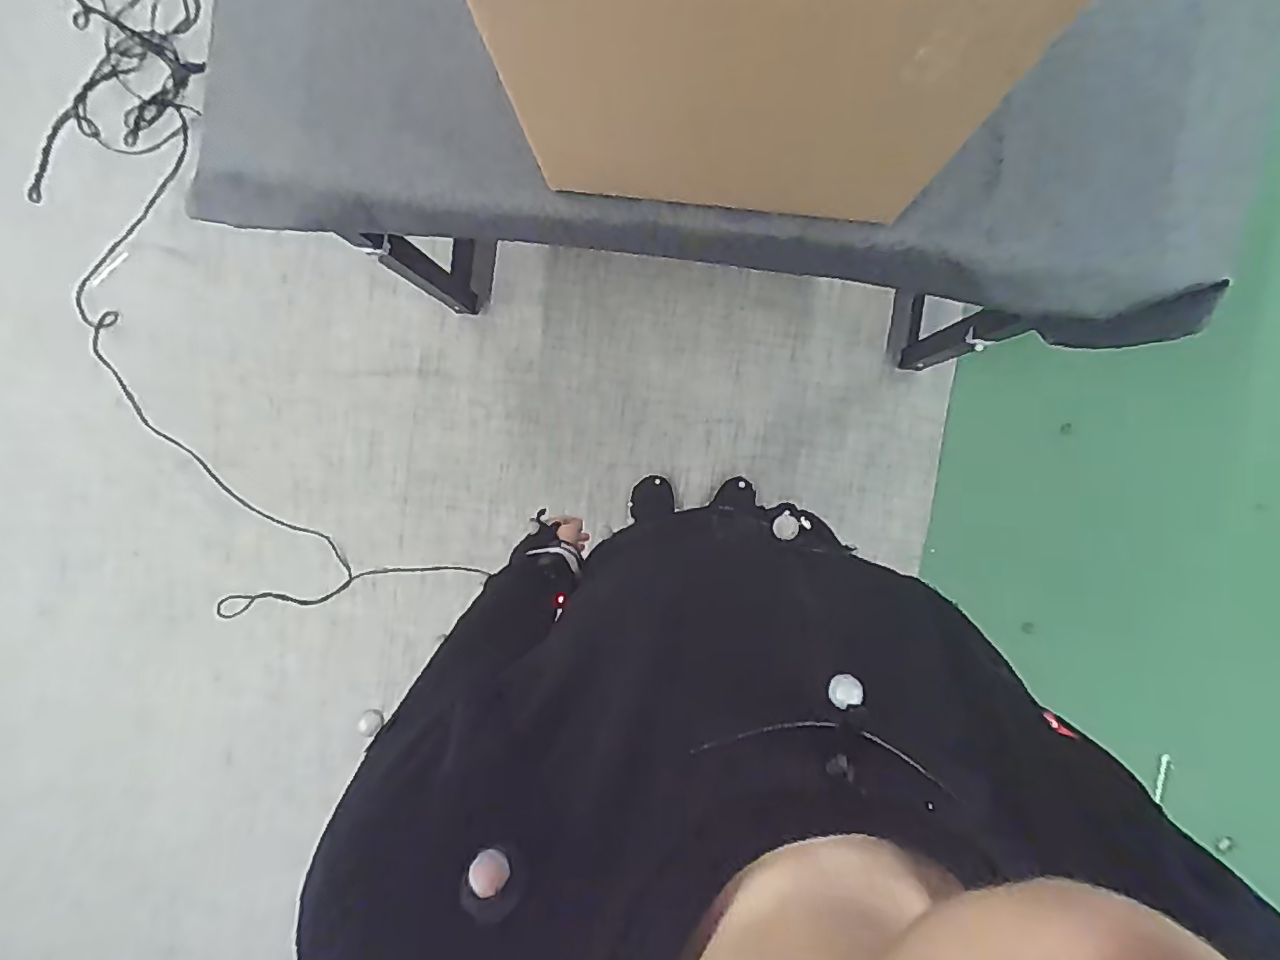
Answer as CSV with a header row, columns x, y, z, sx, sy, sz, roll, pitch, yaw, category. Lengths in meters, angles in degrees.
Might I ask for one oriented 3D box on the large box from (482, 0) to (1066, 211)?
x,y,z,sx,sy,sz,roll,pitch,yaw,category
0.099,-0.473,0.477,0.408,0.320,0.320,7,92,3,large box
